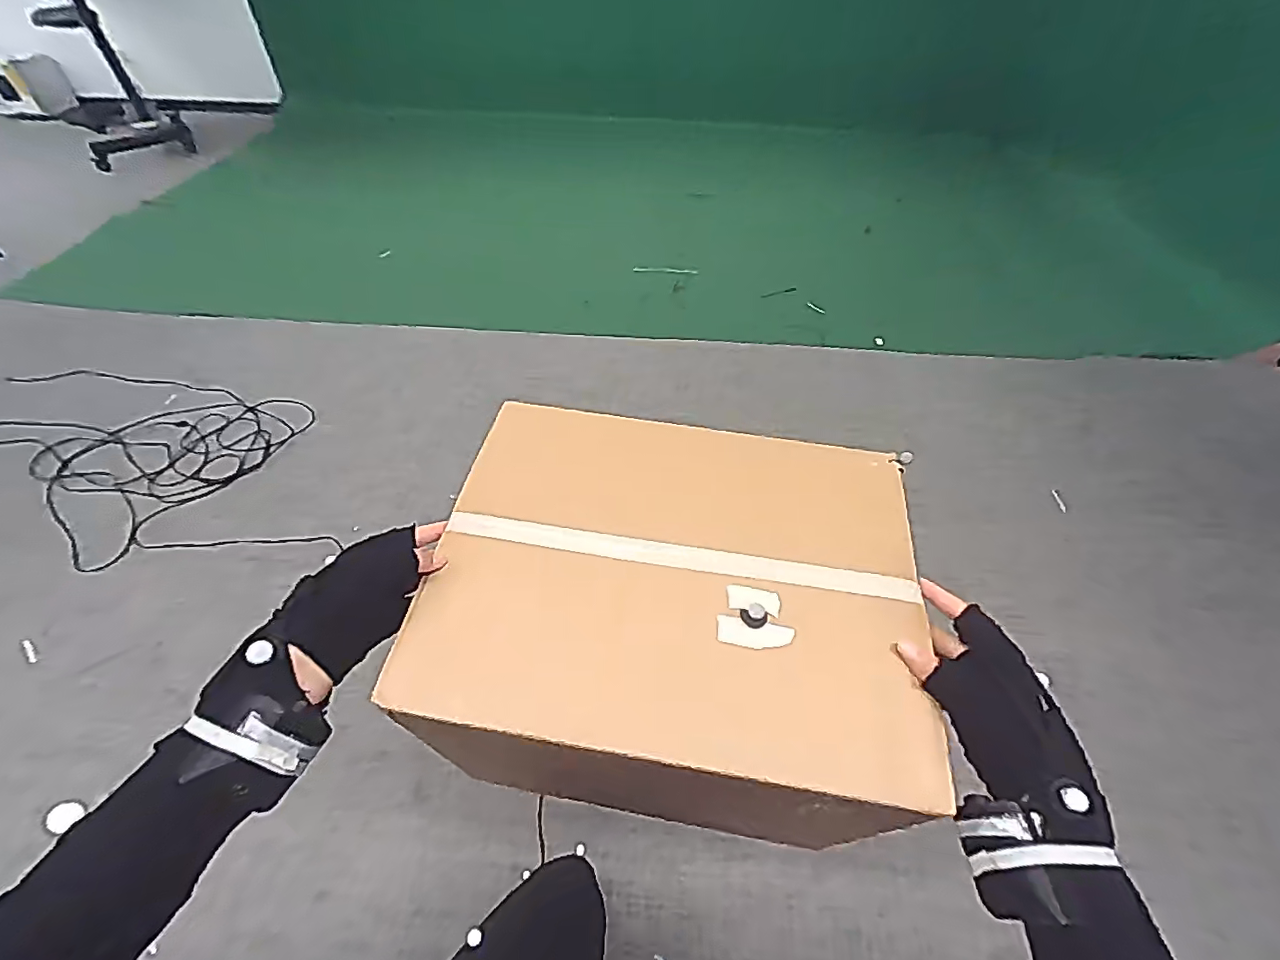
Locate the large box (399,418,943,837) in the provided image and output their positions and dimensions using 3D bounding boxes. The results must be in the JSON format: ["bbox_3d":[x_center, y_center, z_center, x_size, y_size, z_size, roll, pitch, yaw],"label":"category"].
[{"bbox_3d":[0.032,0.165,0.593,0.408,0.320,0.320,8,53,5],"label":"large box"}]
